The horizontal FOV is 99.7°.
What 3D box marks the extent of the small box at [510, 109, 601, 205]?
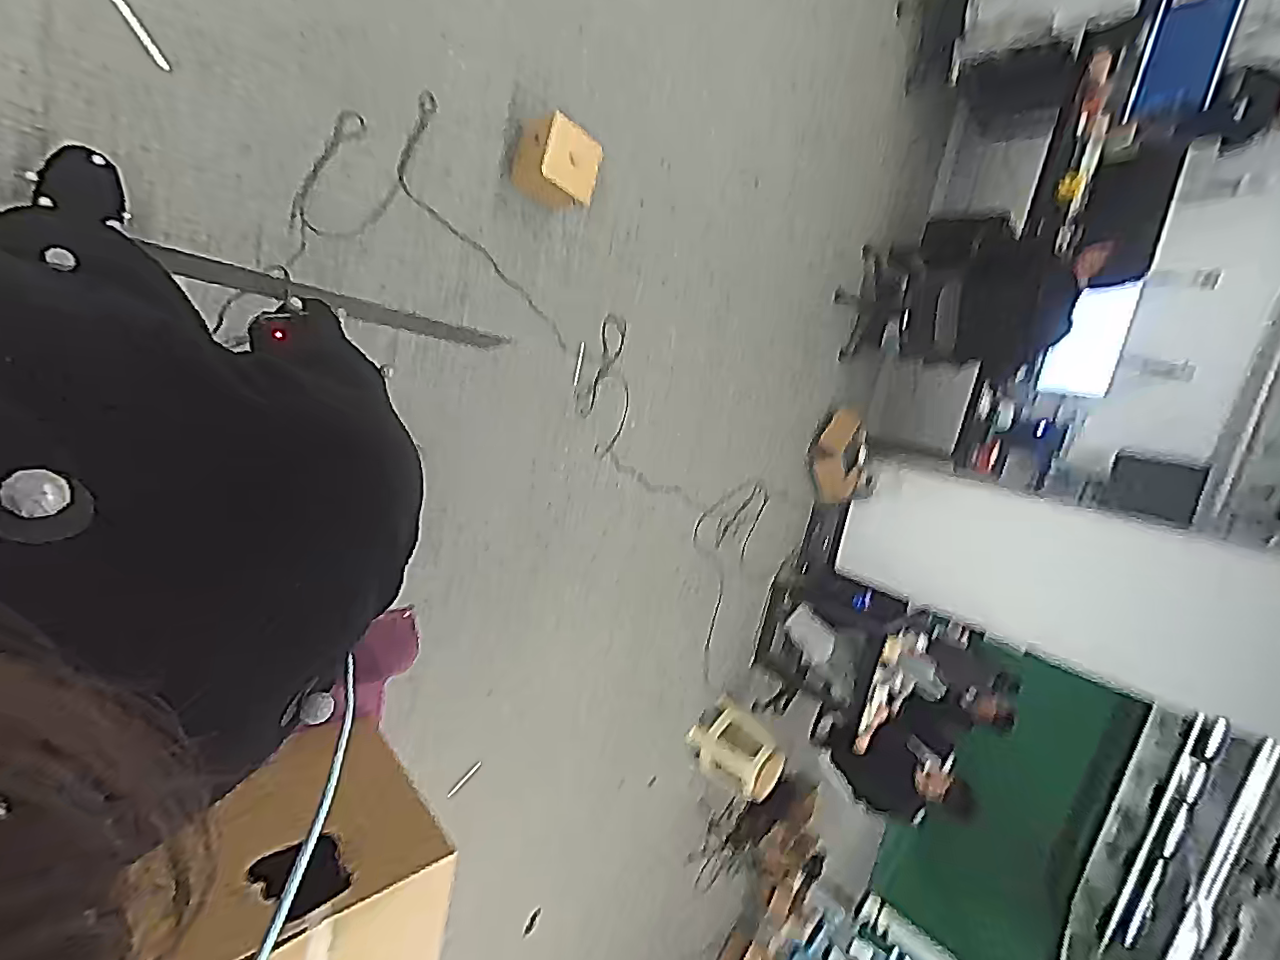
[{"bbox_3d":[-0.246,-0.910,1.546,0.179,0.176,0.168,10,97,-48],"label":"small box"}]
